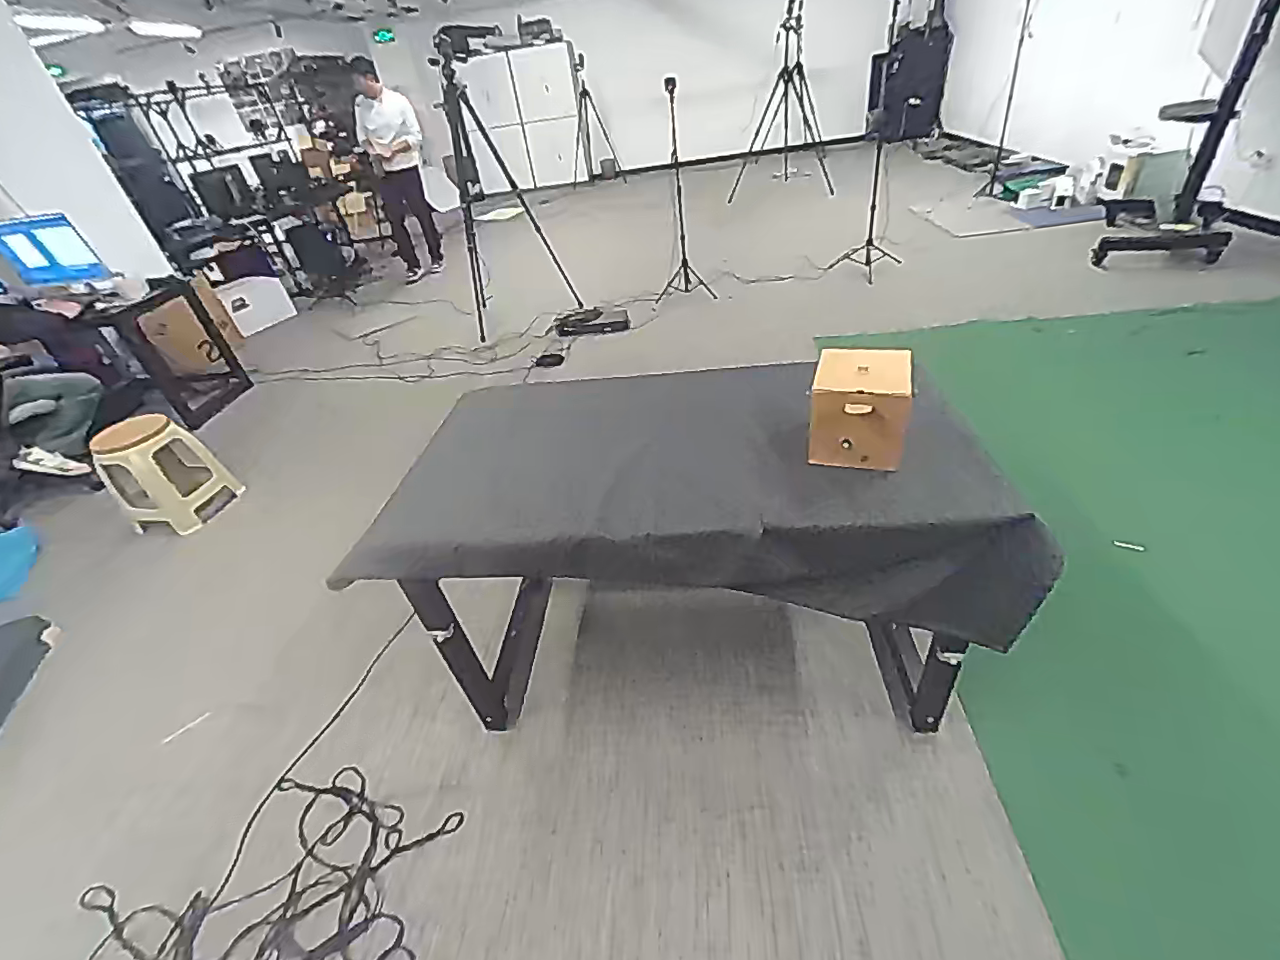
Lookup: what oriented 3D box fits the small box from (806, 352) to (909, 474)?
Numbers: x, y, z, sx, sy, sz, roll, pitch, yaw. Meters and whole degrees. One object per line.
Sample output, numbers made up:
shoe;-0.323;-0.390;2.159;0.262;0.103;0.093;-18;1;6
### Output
small box;0.421;-0.135;1.057;0.168;0.176;0.179;7;40;20
